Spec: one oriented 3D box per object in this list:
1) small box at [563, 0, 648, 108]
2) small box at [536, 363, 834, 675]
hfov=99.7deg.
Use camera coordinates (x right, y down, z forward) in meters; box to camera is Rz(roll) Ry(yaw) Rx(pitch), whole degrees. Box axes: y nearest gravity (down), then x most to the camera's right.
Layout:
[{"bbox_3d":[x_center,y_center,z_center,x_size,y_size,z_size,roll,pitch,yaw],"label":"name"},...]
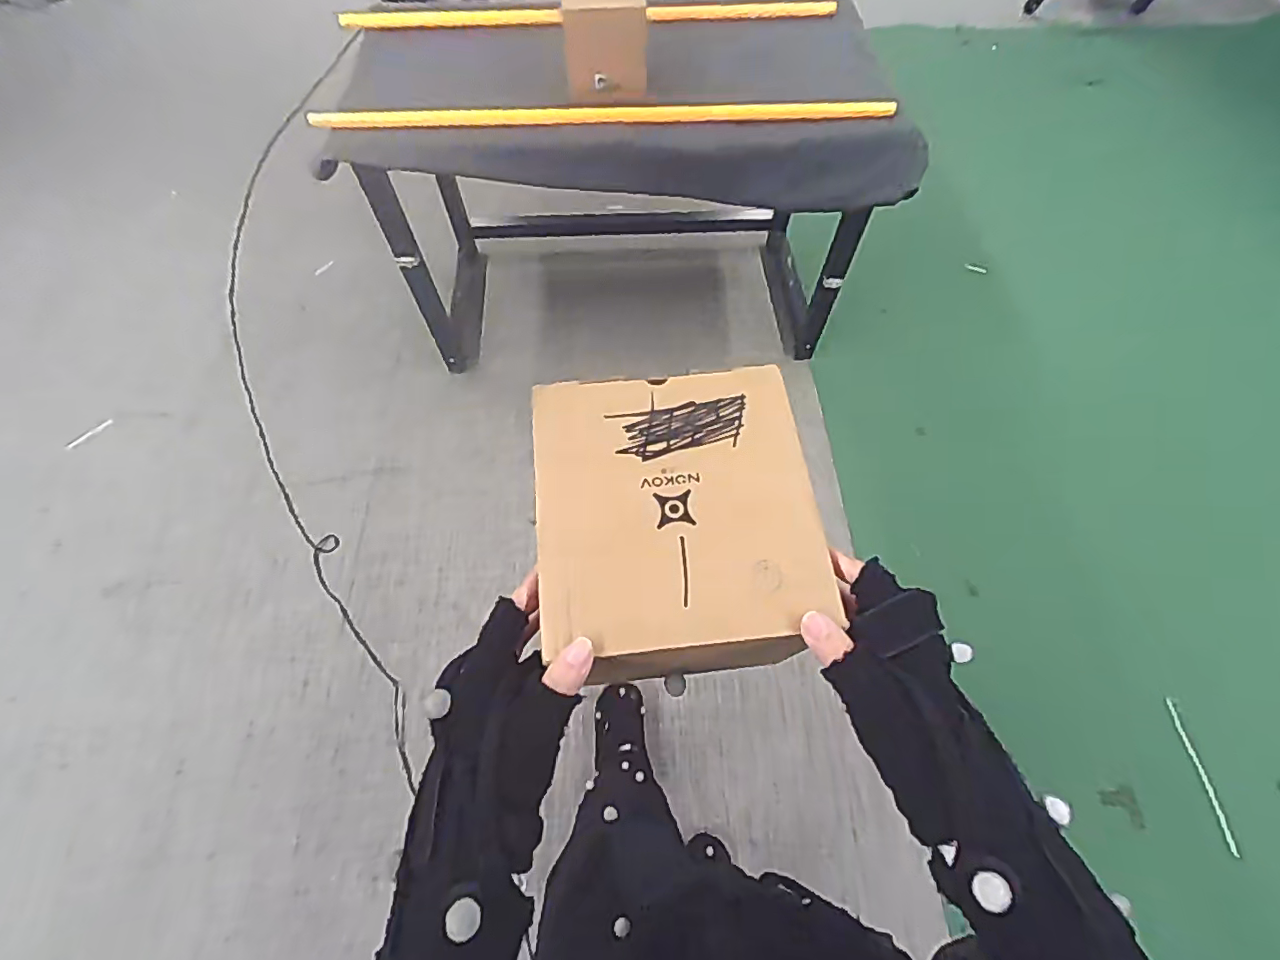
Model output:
[{"bbox_3d":[-0.070,-0.926,1.147,0.168,0.176,0.179,-4,63,-1],"label":"small box"},{"bbox_3d":[0.018,0.039,0.401,0.168,0.176,0.179,-6,66,-2],"label":"small box"}]
